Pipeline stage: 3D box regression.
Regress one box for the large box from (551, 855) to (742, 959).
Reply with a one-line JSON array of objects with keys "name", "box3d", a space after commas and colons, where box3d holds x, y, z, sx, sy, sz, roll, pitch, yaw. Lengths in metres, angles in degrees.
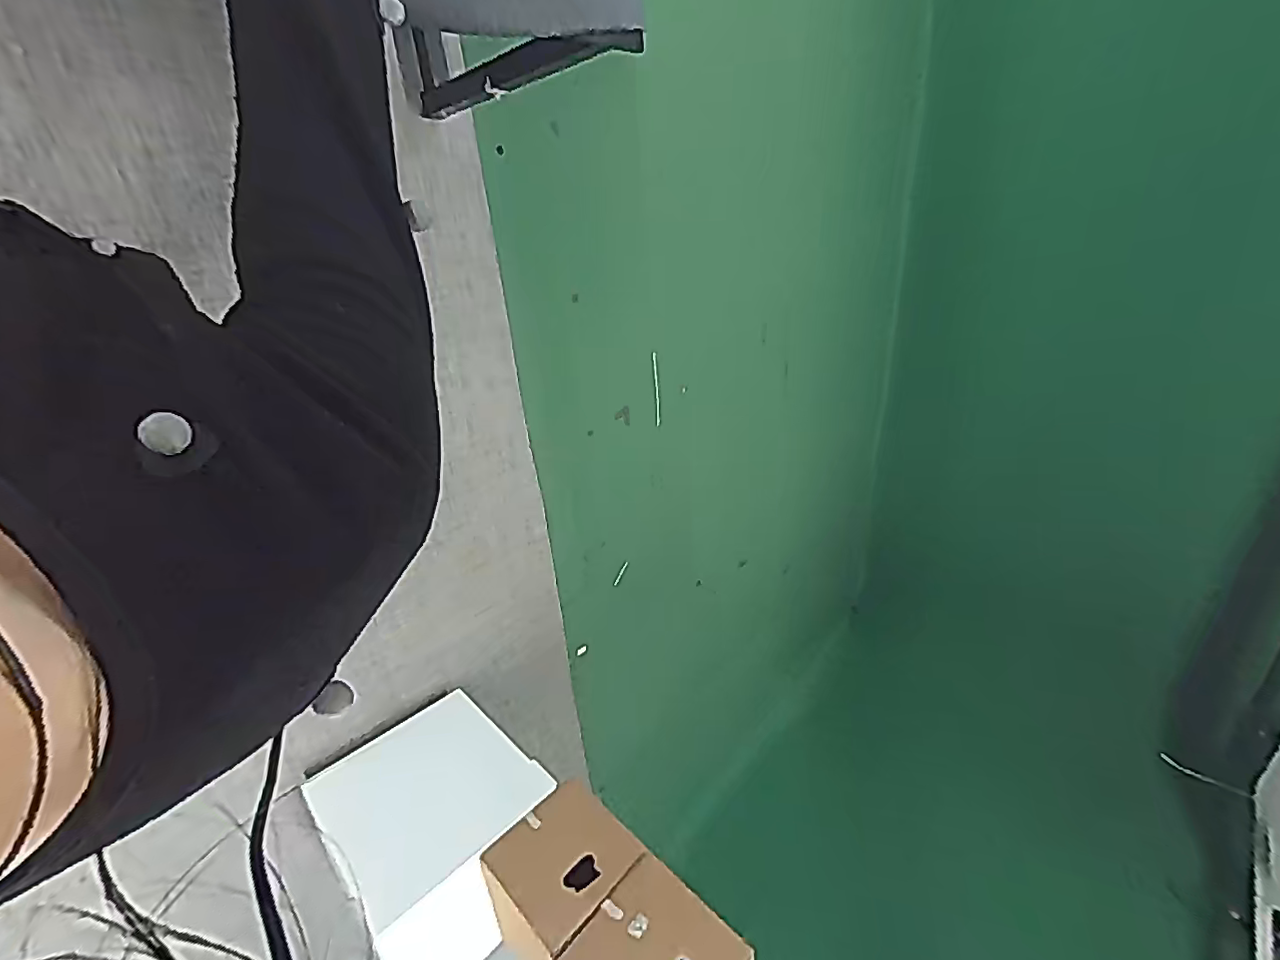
[{"name": "large box", "box3d": [0.019, 1.176, 1.225, 0.320, 0.320, 0.408, -29, 126, -38]}]
